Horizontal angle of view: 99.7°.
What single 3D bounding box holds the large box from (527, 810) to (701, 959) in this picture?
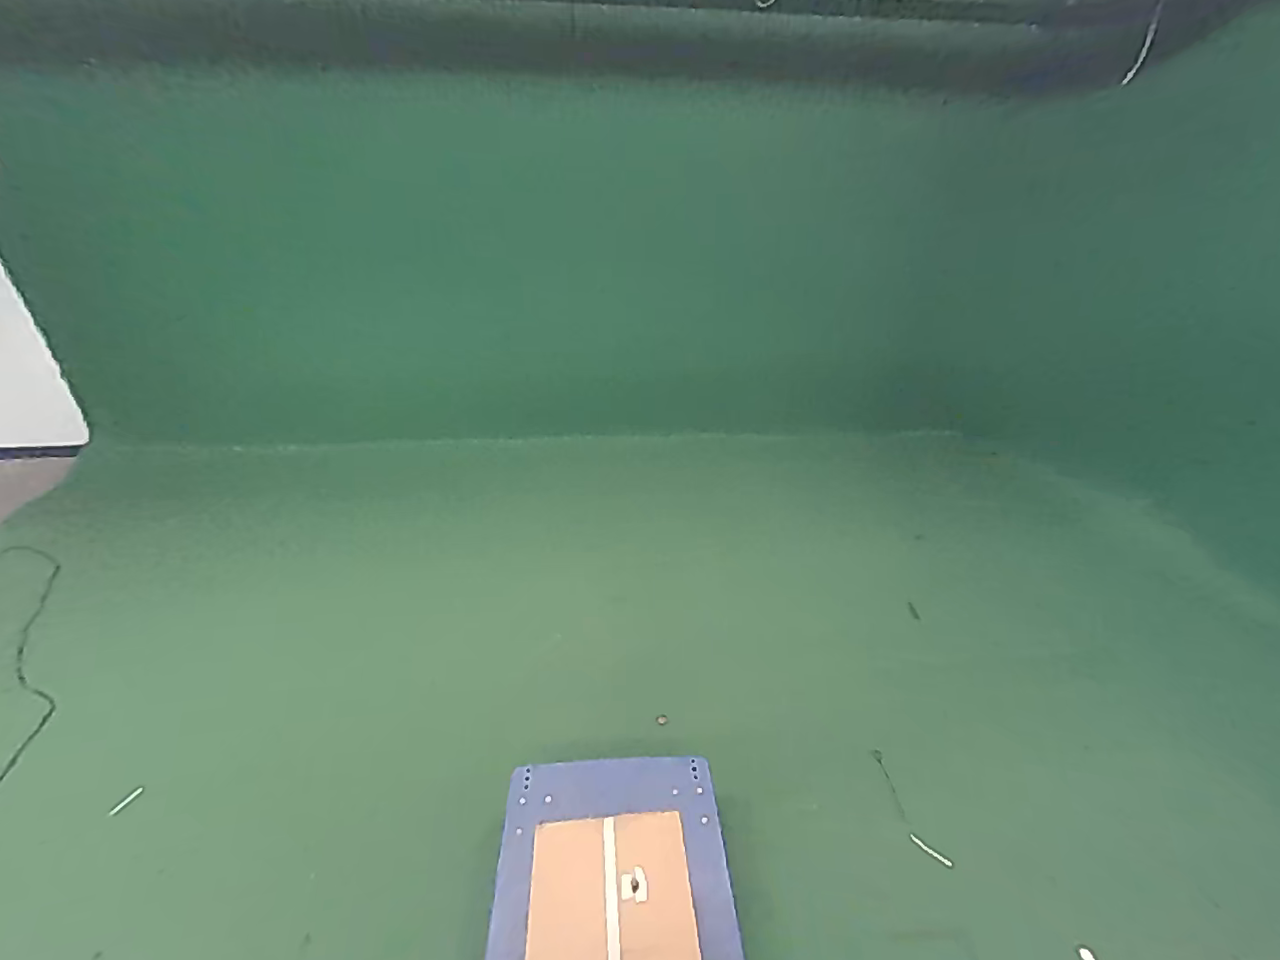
[{"bbox_3d":[-0.049,0.961,1.078,0.320,0.320,0.408,-2,30,-5],"label":"large box"}]
